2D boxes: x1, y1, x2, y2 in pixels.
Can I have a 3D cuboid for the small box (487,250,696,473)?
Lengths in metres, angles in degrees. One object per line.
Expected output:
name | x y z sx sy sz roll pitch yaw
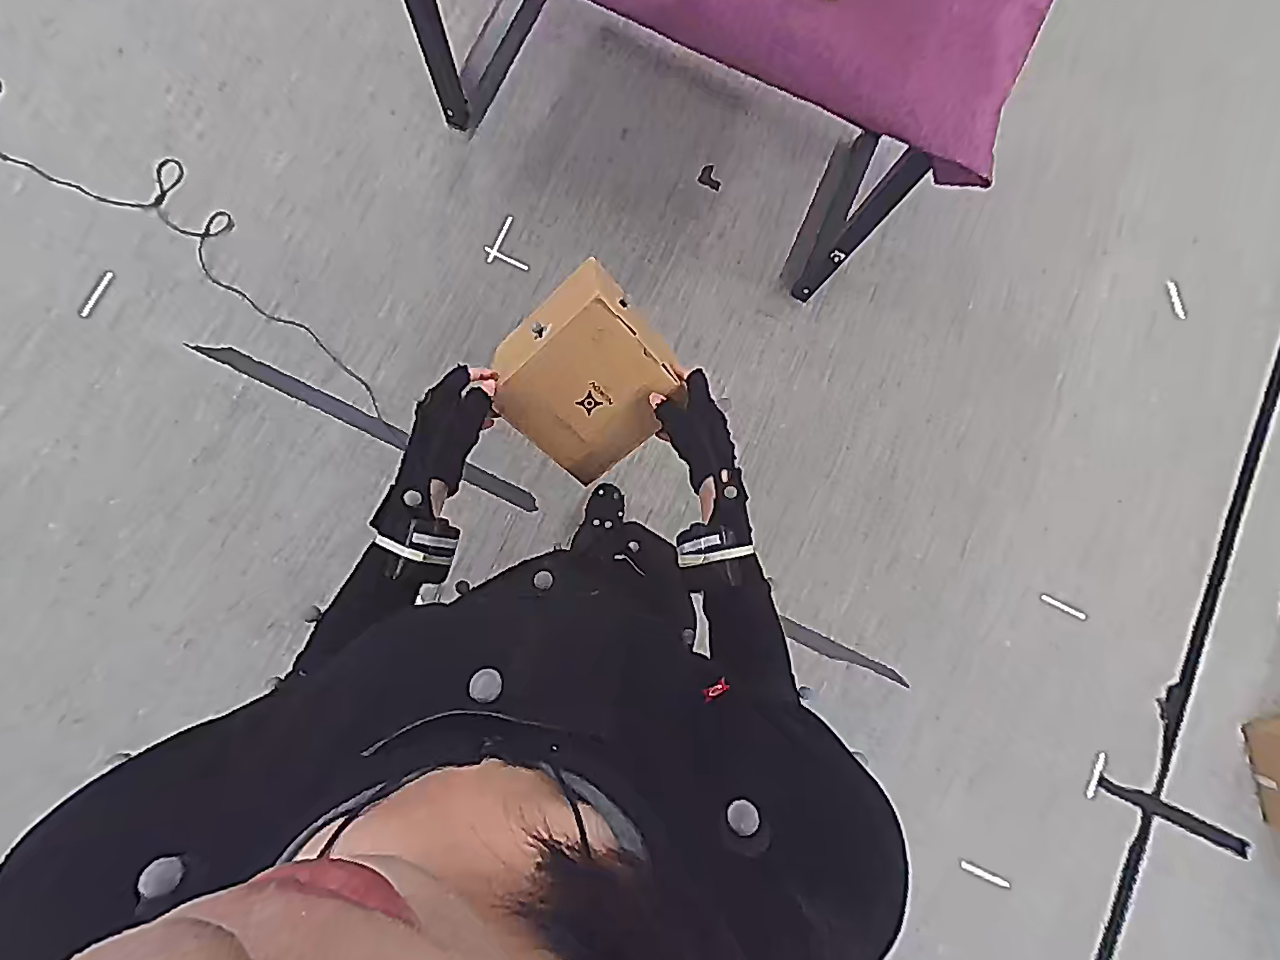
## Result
small box | -0.060 -0.149 0.659 0.179 0.176 0.168 -38 120 18
